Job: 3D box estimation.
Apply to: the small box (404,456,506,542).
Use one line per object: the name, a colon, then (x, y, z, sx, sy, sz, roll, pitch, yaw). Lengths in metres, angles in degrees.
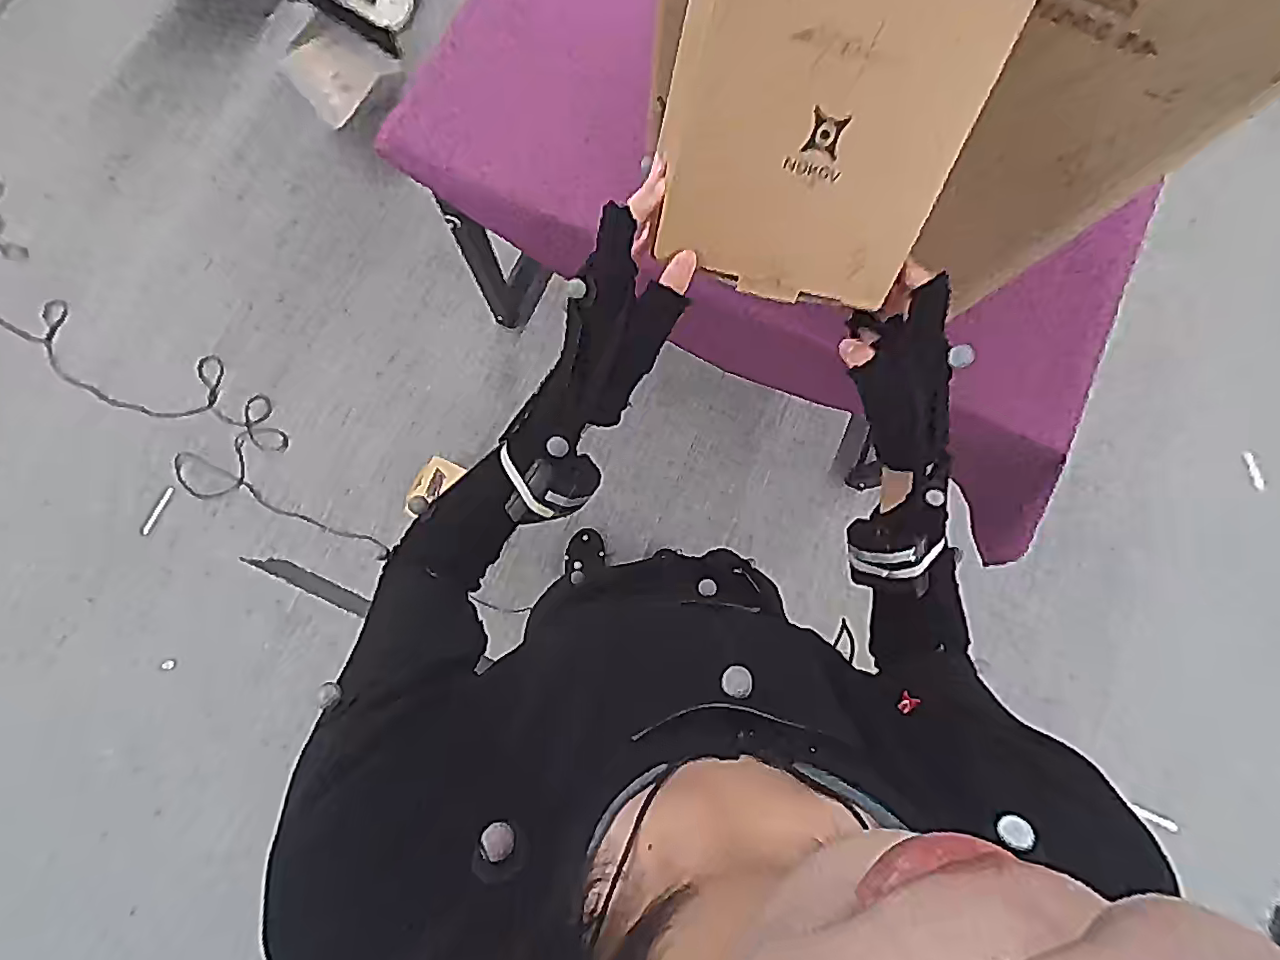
small box: (-0.482, 0.059, 1.434, 0.179, 0.176, 0.168, 27, 82, 1)

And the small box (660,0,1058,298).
small box: (0.111, -0.250, 0.361, 0.168, 0.179, 0.176, 9, 37, -9)
